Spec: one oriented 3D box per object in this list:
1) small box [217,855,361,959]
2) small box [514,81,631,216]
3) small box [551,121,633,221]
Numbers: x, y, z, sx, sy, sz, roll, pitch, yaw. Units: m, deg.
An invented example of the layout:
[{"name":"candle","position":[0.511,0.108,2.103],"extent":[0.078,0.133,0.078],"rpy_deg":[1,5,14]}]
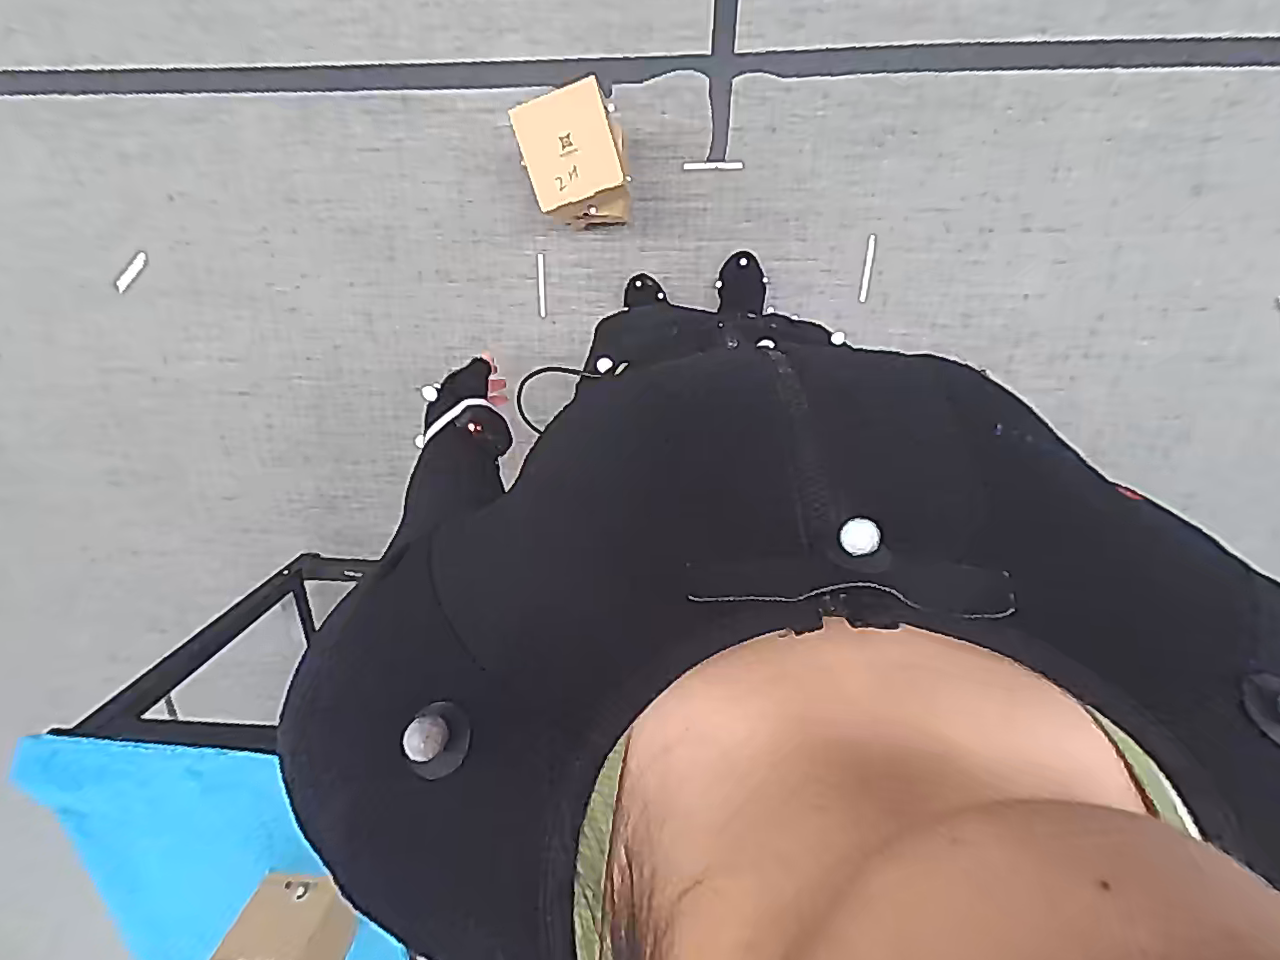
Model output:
[{"name":"small box","position":[-0.699,0.911,1.104],"extent":[0.168,0.176,0.179],"rpy_deg":[1,112,4]},{"name":"small box","position":[-0.121,-0.627,1.047],"extent":[0.168,0.176,0.179],"rpy_deg":[-11,112,10]},{"name":"small box","position":[-0.105,-0.677,1.203],"extent":[0.168,0.176,0.179],"rpy_deg":[1,111,4]}]
